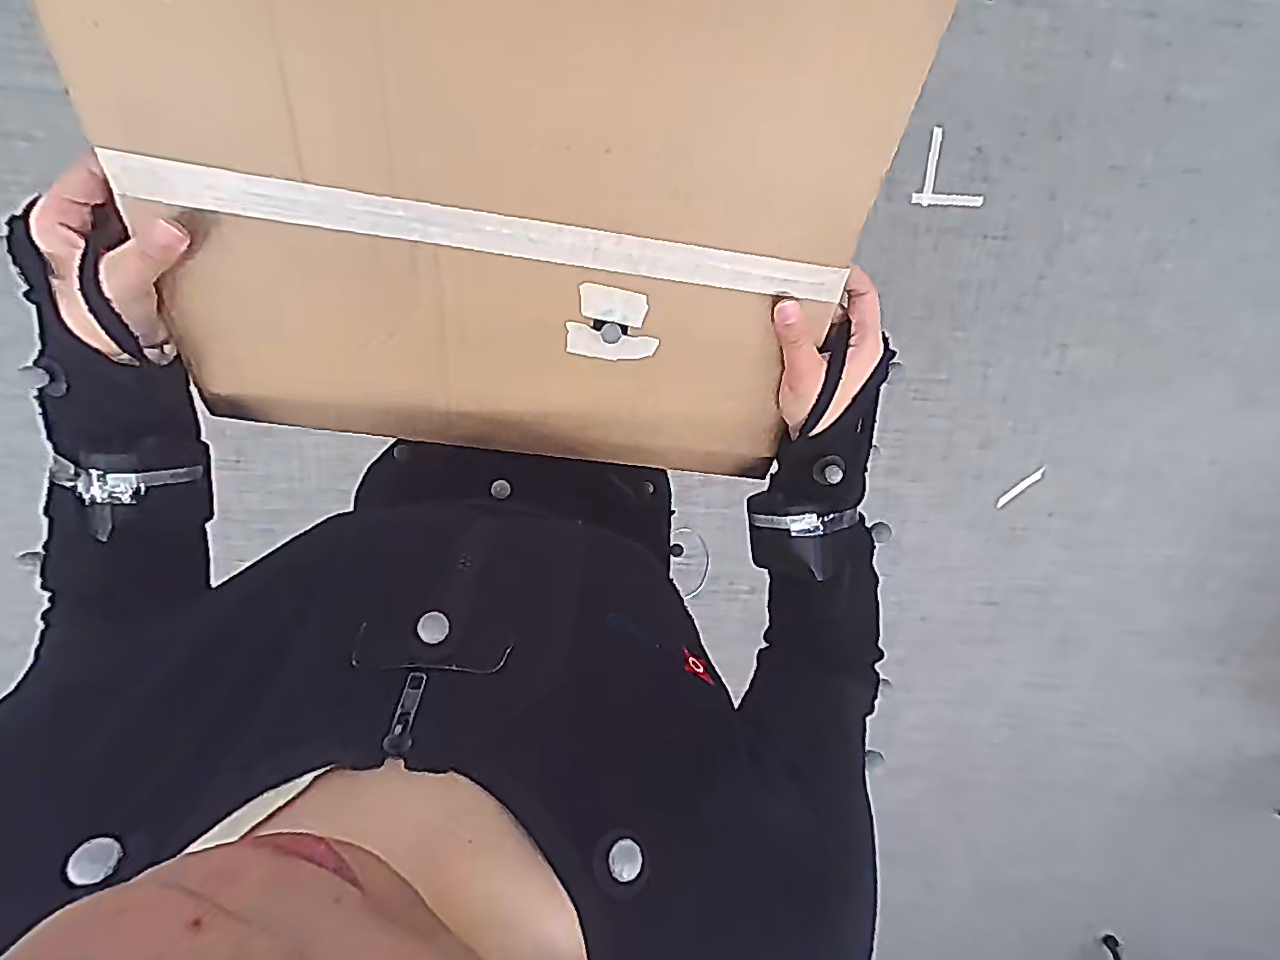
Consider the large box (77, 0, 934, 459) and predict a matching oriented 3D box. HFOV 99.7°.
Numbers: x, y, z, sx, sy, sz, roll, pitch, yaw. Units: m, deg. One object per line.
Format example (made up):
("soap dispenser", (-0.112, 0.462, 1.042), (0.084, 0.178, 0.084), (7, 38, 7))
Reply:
("large box", (-0.081, -0.243, 0.432), (0.408, 0.320, 0.320), (5, 131, -8))
